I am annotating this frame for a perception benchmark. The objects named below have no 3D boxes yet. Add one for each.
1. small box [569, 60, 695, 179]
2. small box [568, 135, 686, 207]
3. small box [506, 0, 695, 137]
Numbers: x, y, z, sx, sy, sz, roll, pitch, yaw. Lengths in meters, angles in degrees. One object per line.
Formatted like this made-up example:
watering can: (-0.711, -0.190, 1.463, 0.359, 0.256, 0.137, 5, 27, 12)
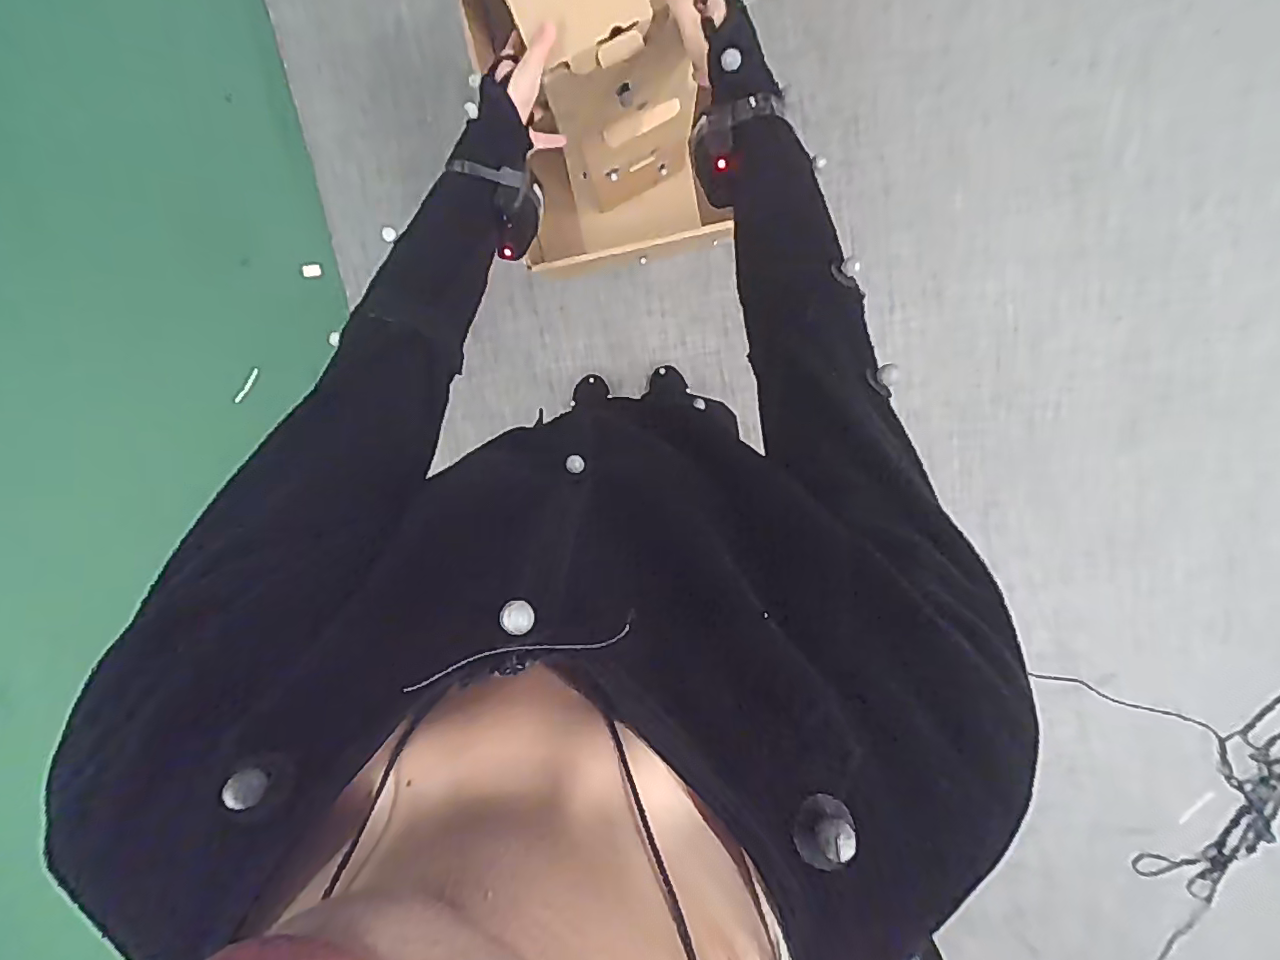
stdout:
small box: (-0.035, -0.543, 0.738, 0.168, 0.176, 0.179, -24, 99, 6)
small box: (-0.032, -0.580, 0.897, 0.168, 0.176, 0.179, -24, 100, 6)
small box: (-0.051, -0.504, 0.578, 0.168, 0.176, 0.179, -22, 101, 5)
